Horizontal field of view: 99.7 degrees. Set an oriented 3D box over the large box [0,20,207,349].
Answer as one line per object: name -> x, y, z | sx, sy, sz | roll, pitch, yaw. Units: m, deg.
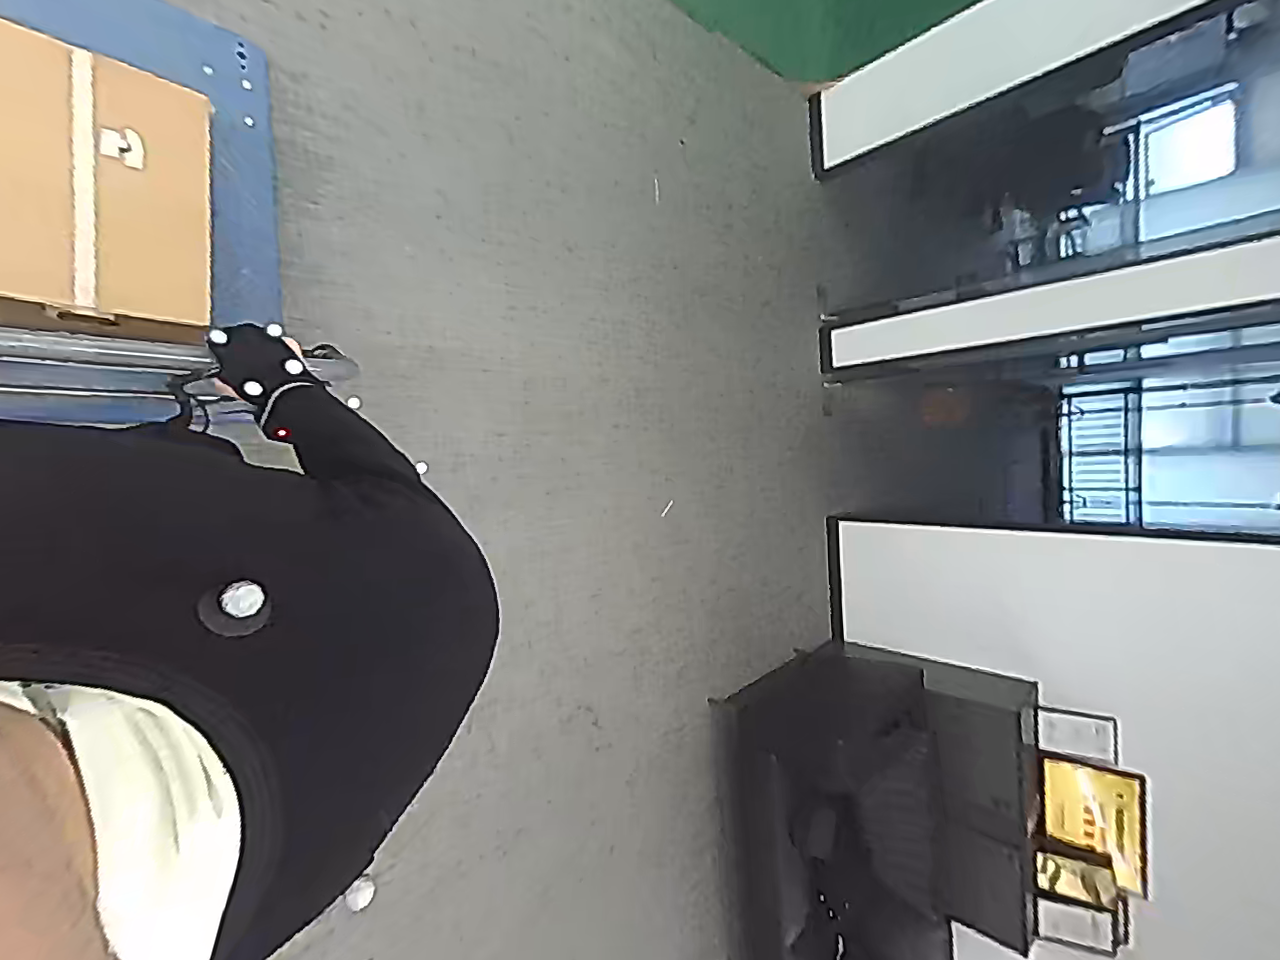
large box -> -0.977, -0.470, 0.945 | 0.320, 0.320, 0.408 | -1, 90, -44
